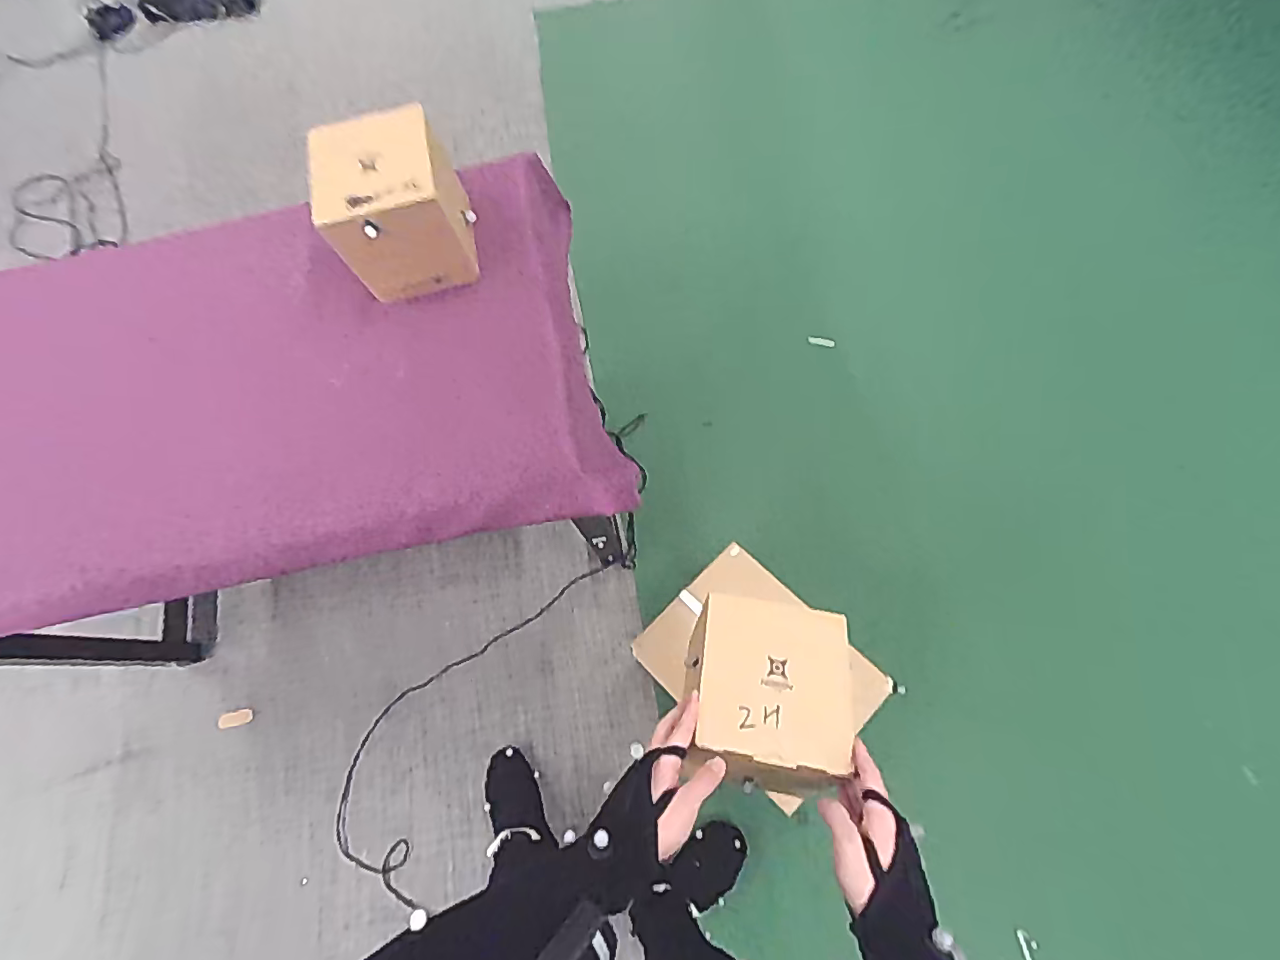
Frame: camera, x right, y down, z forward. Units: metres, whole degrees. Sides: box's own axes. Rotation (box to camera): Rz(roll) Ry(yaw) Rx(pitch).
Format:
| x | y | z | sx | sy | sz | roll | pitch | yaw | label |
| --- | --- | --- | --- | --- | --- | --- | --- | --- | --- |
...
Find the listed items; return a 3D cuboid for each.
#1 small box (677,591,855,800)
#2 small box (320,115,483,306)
| x | y | z | sx | sy | sz | roll | pitch | yaw | label |
| --- | --- | --- | --- | --- | --- | --- | --- | --- | --- |
| 0.142 | 0.261 | 0.649 | 0.168 | 0.176 | 0.179 | 10 | 53 | 4 | small box |
| -0.351 | -0.398 | 0.815 | 0.168 | 0.176 | 0.179 | -14 | 70 | 1 | small box |
